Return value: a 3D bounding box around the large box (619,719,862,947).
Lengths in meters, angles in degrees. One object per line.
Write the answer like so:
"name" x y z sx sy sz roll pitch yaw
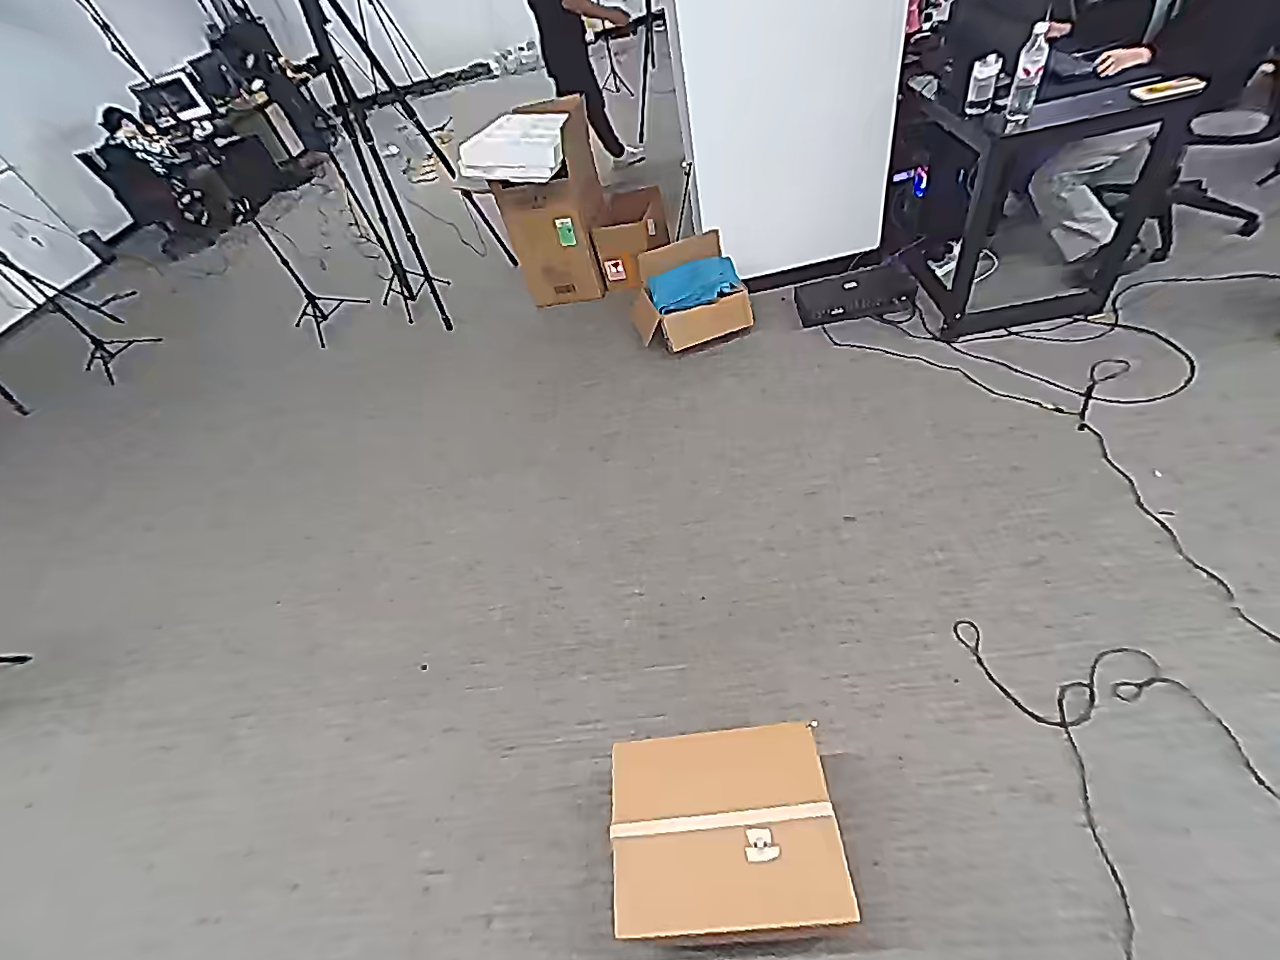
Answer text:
"large box" 0.186 0.721 1.096 0.408 0.320 0.320 -10 47 7
